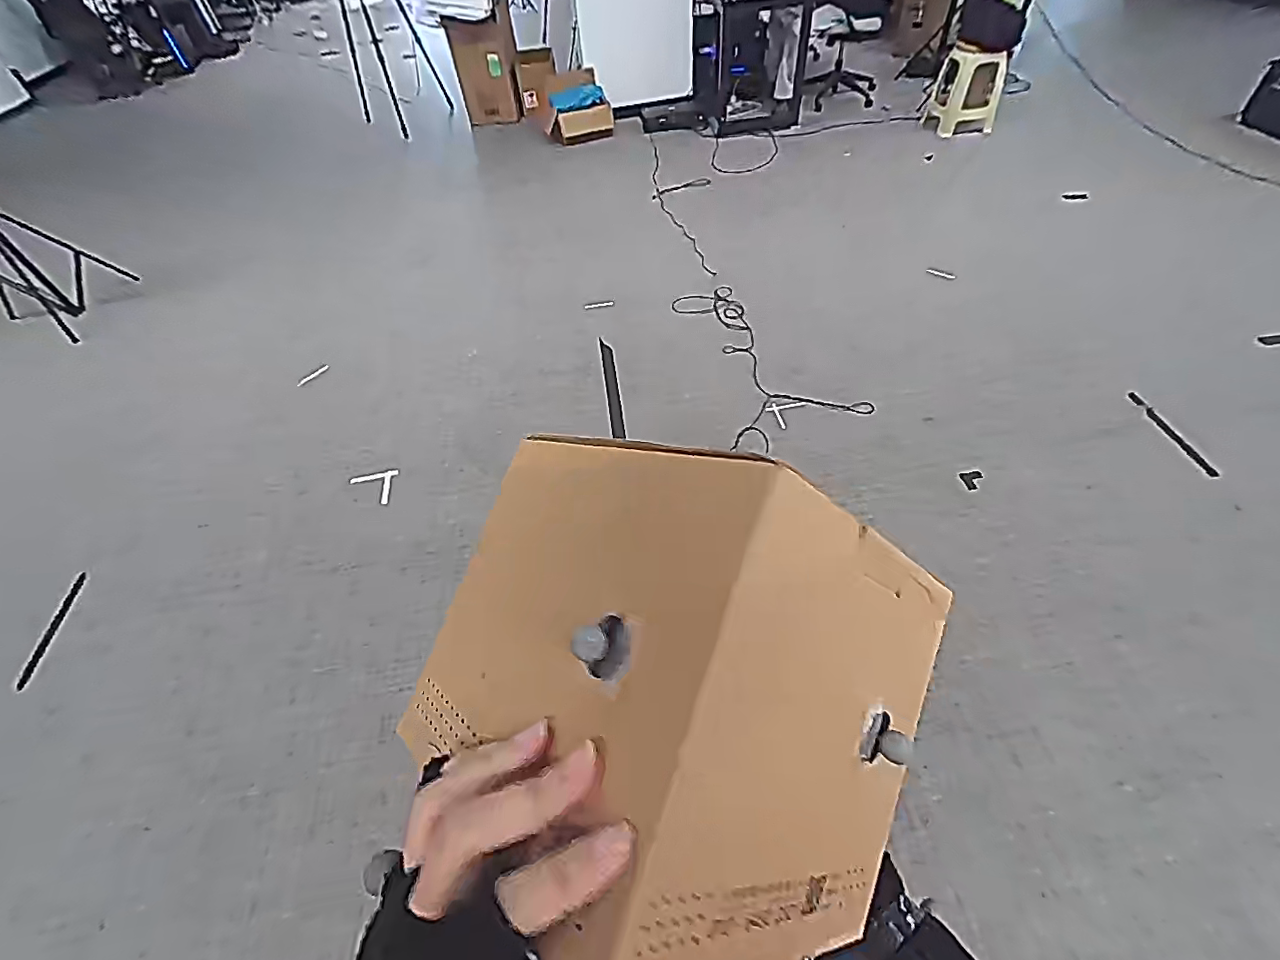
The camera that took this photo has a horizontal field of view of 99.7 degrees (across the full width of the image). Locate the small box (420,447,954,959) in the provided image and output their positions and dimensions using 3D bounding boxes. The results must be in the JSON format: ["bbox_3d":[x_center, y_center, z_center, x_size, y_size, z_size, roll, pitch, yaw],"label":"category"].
[{"bbox_3d":[0.018,0.095,0.273,0.179,0.168,0.176,8,74,52],"label":"small box"}]
